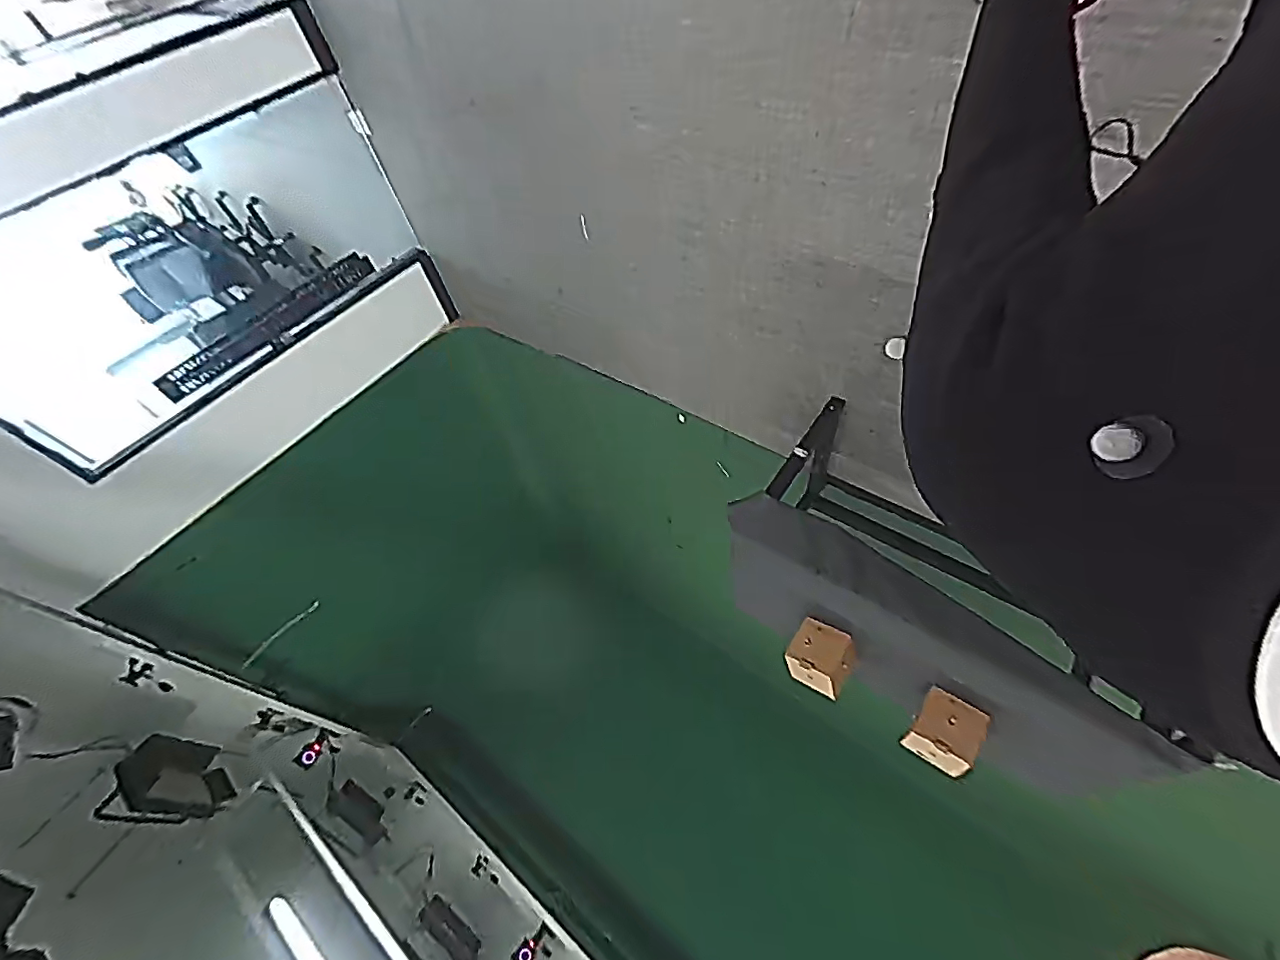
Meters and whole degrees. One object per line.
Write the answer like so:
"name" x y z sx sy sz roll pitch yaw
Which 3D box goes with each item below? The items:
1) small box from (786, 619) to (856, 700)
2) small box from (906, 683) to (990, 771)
"small box" 0.622 0.607 1.849 0.168 0.176 0.179 23 150 39
"small box" 0.952 0.759 1.671 0.168 0.176 0.179 24 151 30
